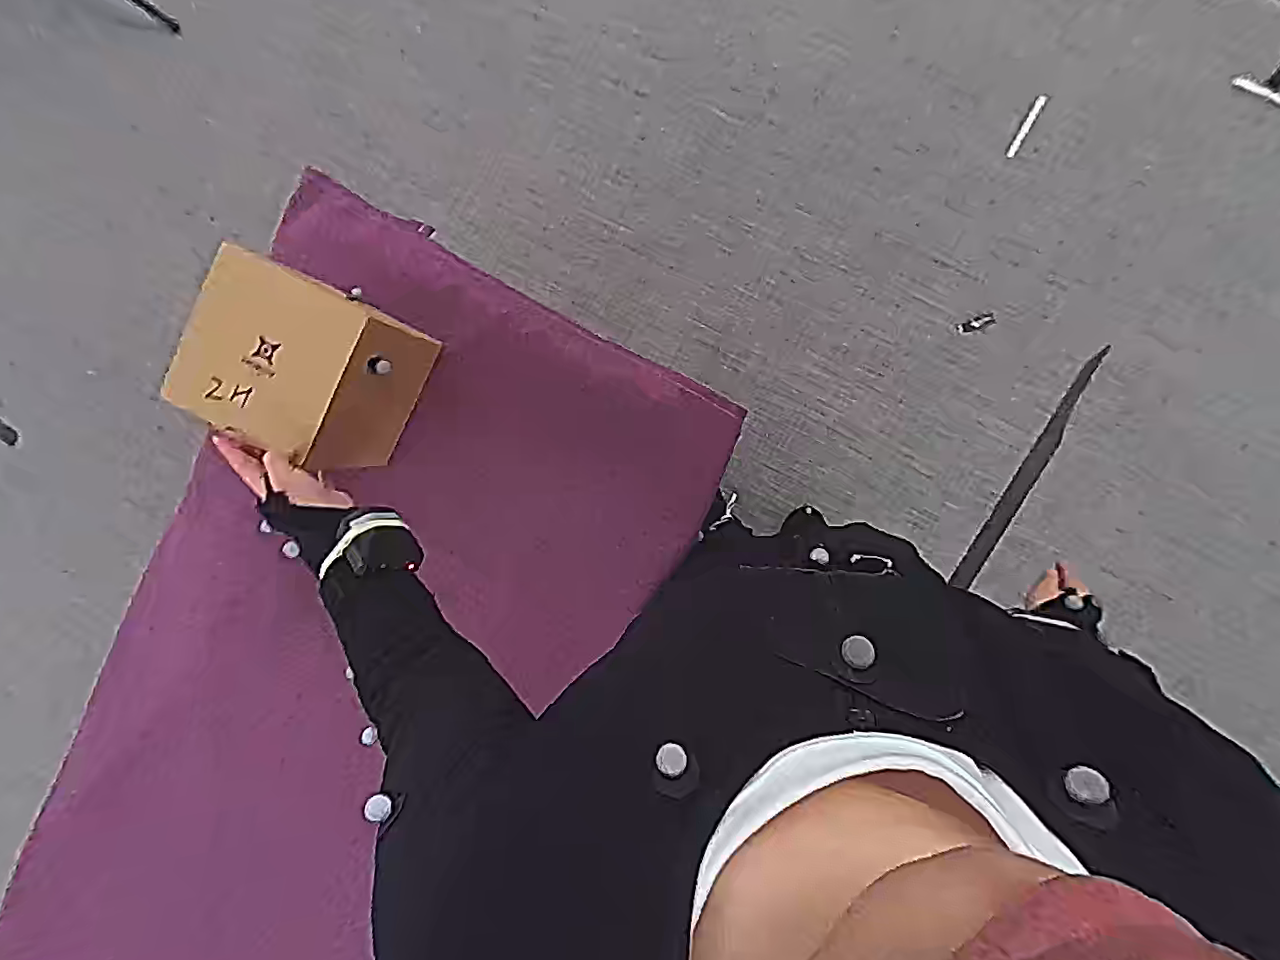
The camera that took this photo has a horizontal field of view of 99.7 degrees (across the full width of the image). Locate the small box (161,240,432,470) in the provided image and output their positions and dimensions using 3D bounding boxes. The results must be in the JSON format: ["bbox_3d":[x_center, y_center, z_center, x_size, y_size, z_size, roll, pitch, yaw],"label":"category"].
[{"bbox_3d":[-0.365,-0.128,0.611,0.168,0.176,0.179,28,96,2],"label":"small box"}]
